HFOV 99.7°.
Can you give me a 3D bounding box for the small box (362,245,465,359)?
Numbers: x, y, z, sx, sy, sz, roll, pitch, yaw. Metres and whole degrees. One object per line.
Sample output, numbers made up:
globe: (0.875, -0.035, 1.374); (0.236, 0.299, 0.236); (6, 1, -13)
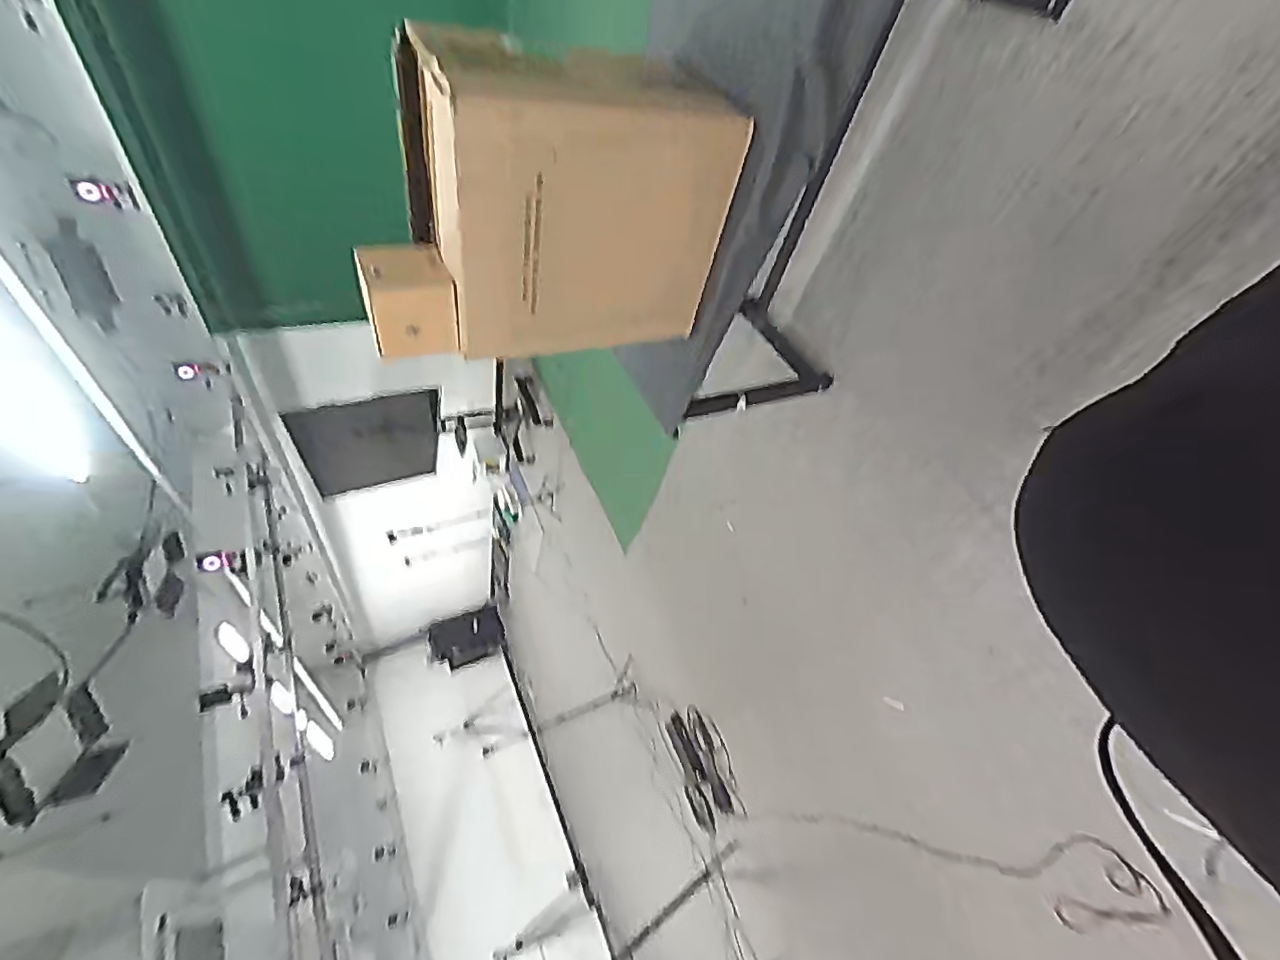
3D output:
small box: (-0.494, -0.396, 1.195); (0.168, 0.176, 0.179); (58, 151, 31)
